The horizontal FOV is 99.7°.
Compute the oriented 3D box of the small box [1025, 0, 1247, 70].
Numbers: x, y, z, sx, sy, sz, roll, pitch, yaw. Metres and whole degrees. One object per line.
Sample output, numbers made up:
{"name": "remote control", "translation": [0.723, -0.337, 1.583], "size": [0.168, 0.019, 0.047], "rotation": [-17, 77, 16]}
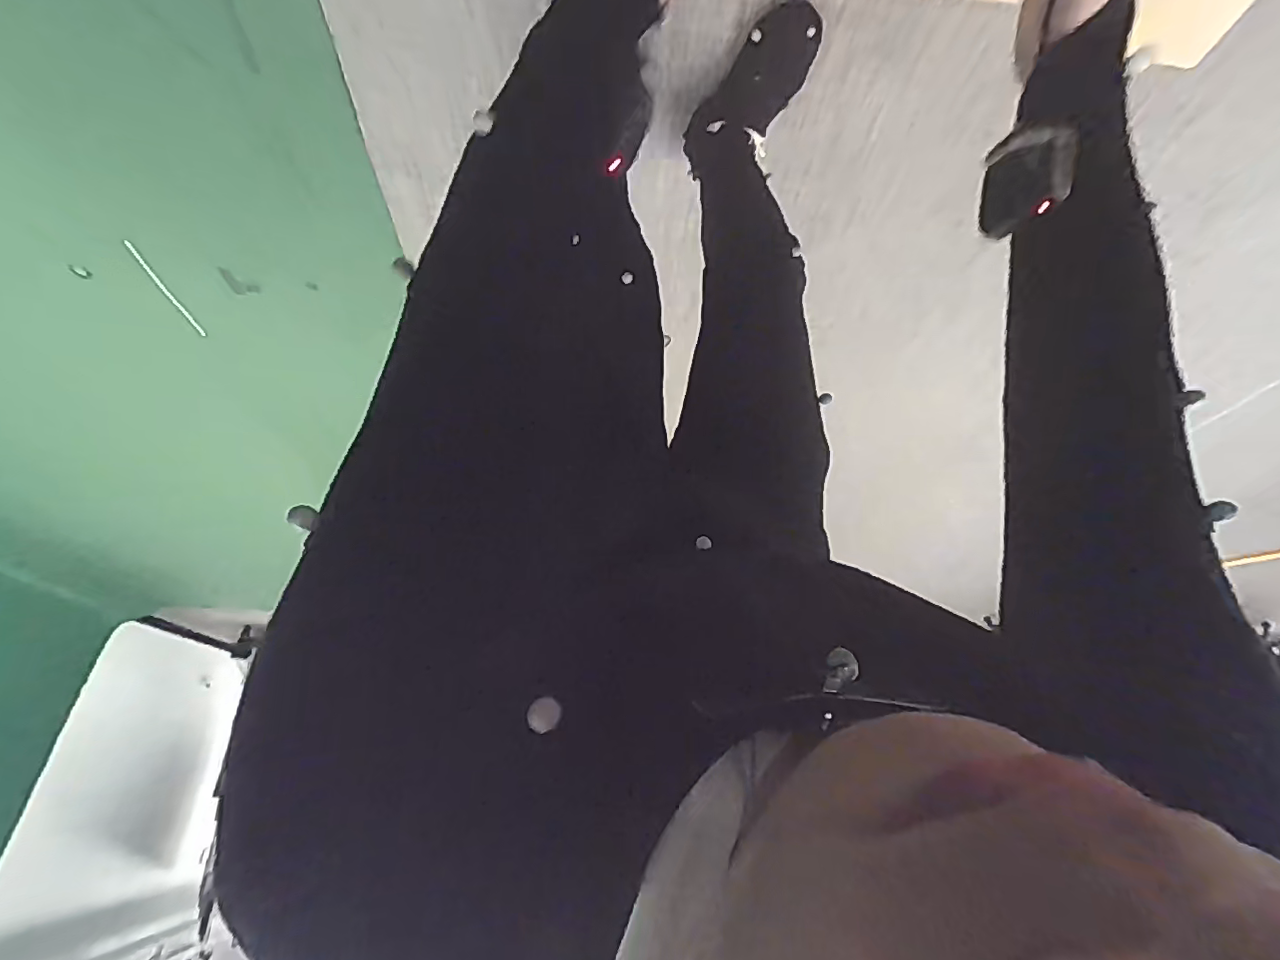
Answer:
{"name": "small box", "translation": [0.575, -0.602, 0.600], "size": [0.179, 0.176, 0.168], "rotation": [6, 152, -4]}

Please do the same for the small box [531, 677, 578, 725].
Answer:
{"name": "small box", "translation": [-0.342, 0.895, 2.187], "size": [0.179, 0.176, 0.168], "rotation": [5, 151, -6]}
